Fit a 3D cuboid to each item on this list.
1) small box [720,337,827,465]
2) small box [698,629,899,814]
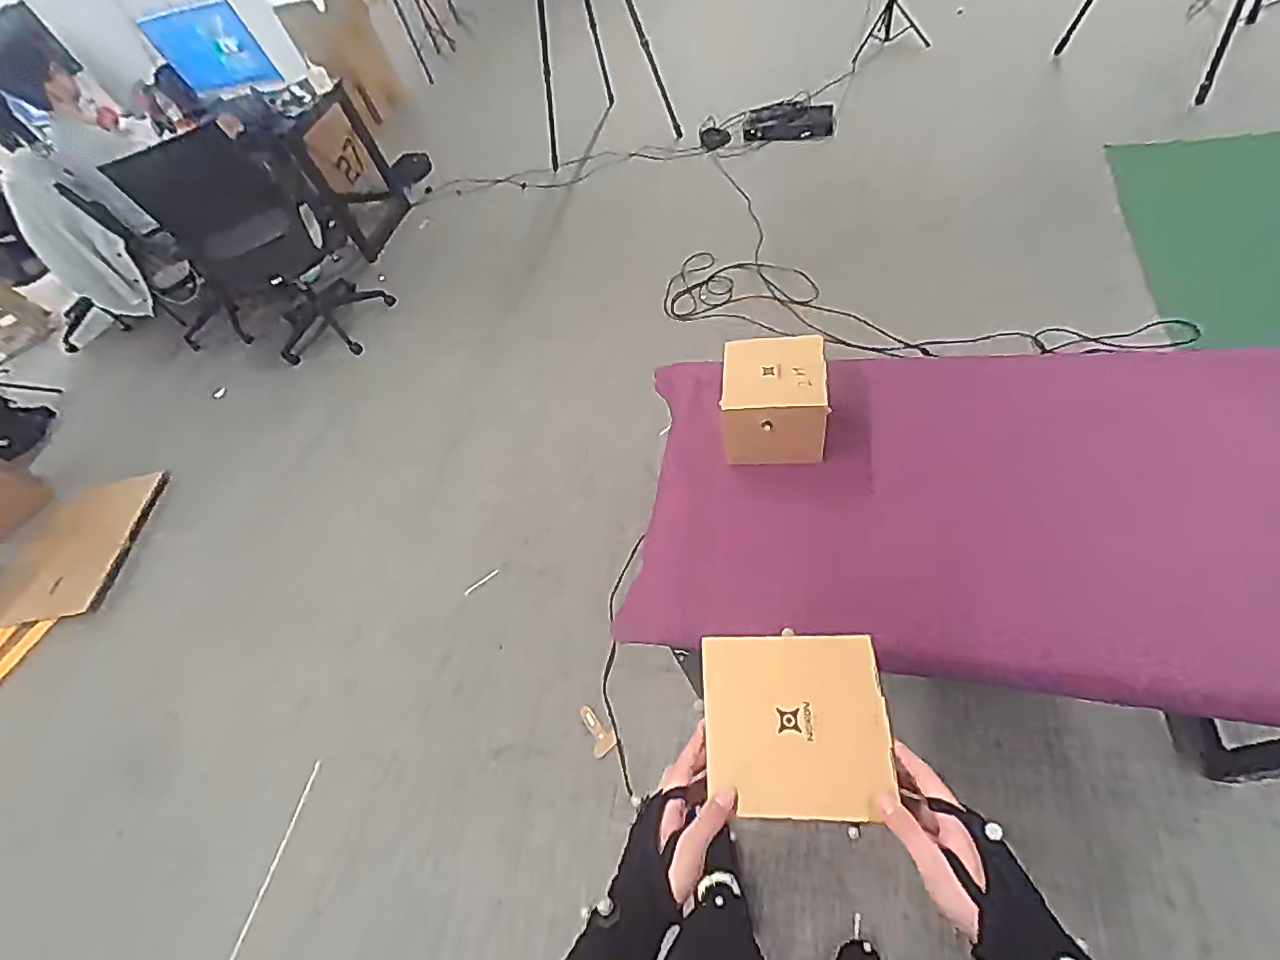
[{"bbox_3d":[0.248,-0.139,0.997,0.179,0.176,0.168,0,57,15],"label":"small box"},{"bbox_3d":[0.158,0.268,0.594,0.179,0.176,0.168,-3,60,7],"label":"small box"}]
